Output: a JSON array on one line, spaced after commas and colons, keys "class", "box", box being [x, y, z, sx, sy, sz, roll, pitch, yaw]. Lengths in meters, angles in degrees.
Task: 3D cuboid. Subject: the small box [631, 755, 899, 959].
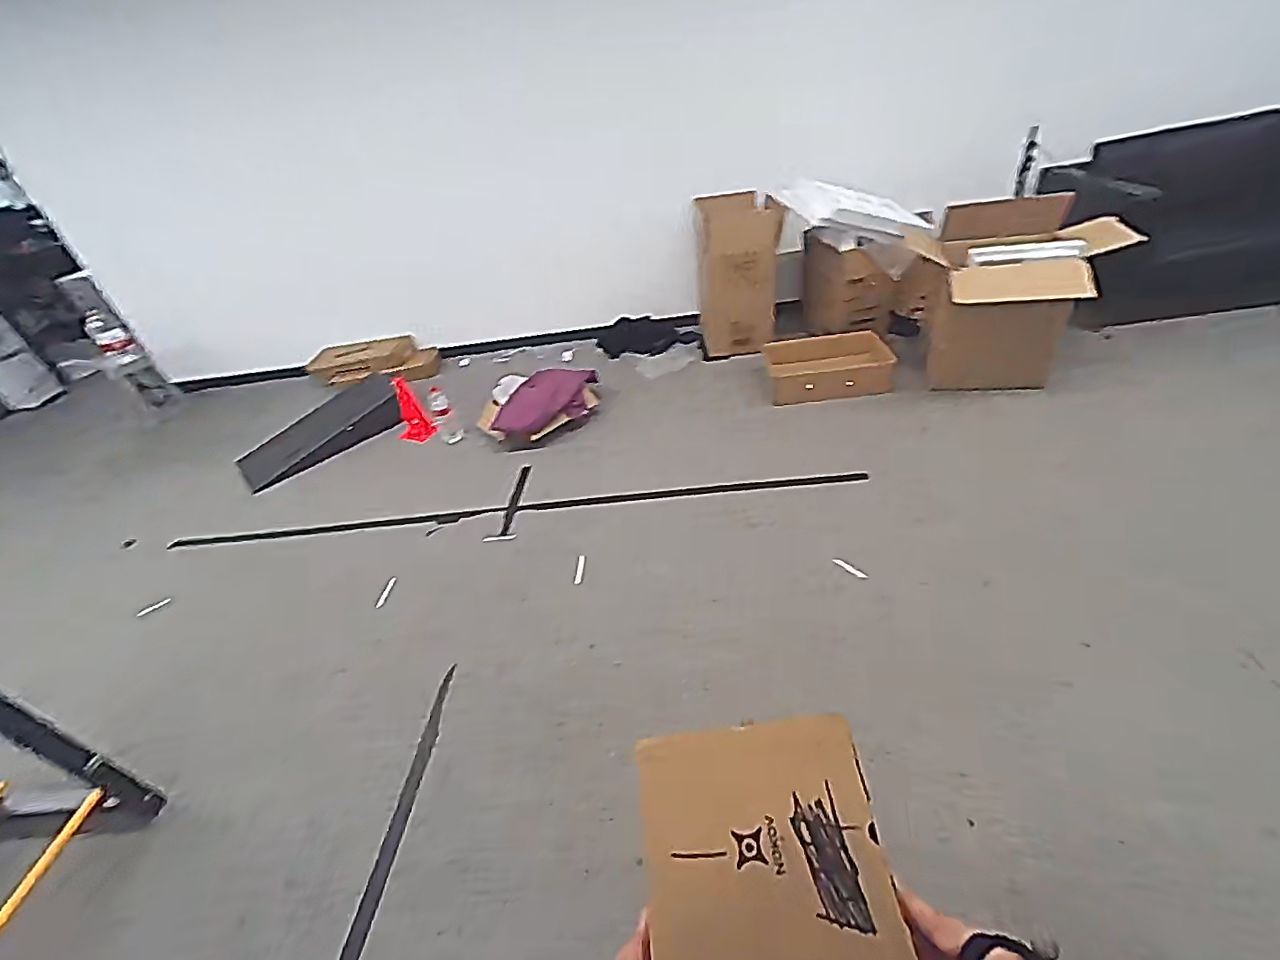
[{"class": "small box", "box": [0.091, 0.343, 0.457, 0.179, 0.176, 0.168, -8, 54, 1]}]
